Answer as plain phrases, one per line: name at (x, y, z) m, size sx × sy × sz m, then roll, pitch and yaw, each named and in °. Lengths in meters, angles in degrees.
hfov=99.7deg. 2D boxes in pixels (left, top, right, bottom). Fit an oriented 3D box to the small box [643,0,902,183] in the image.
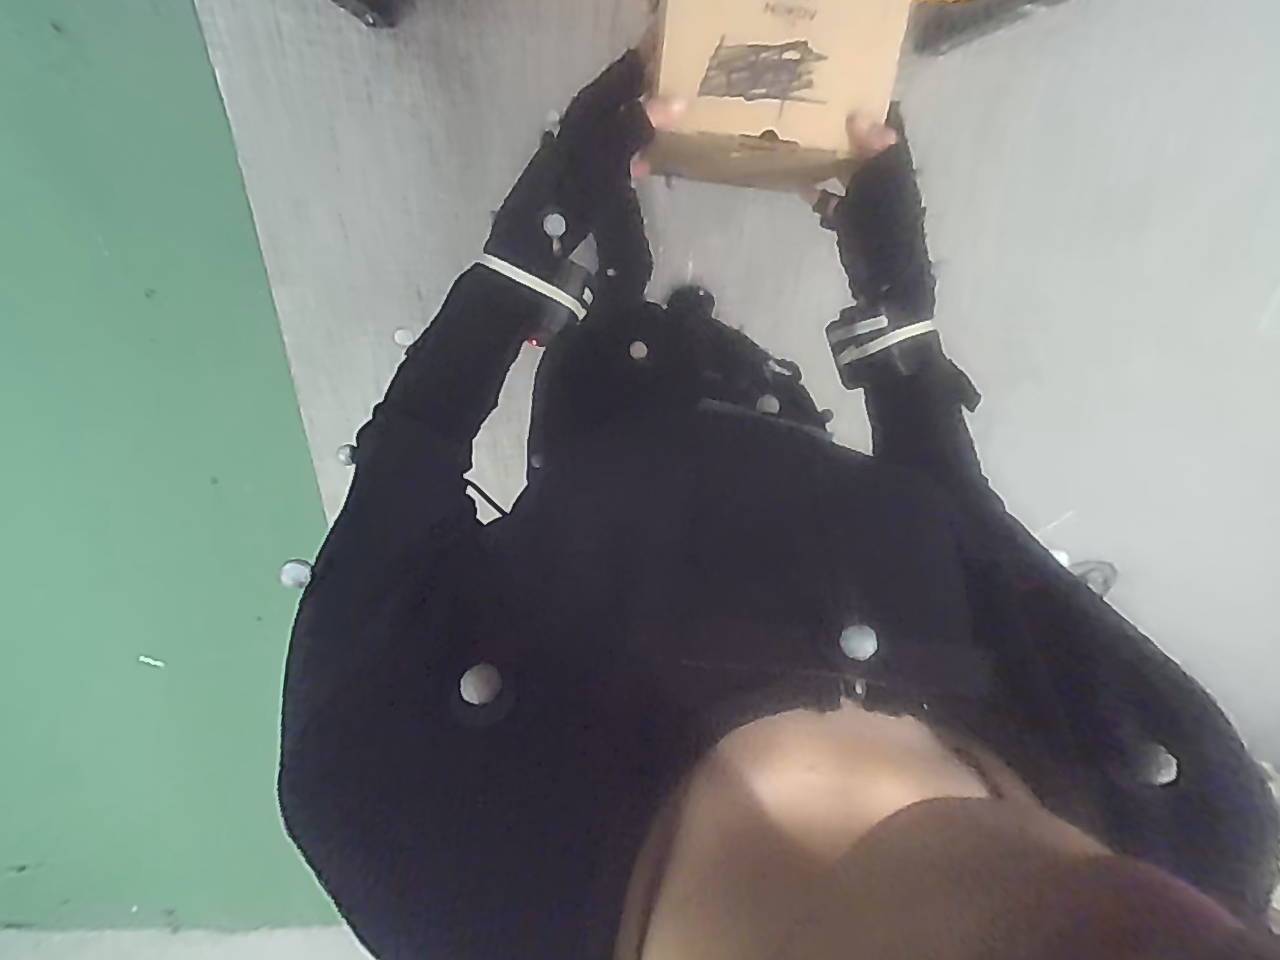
small box at (0.095, -0.360, 0.443) m, size 0.168 × 0.176 × 0.179 m, roll 4°, pitch 108°, yaw -6°
